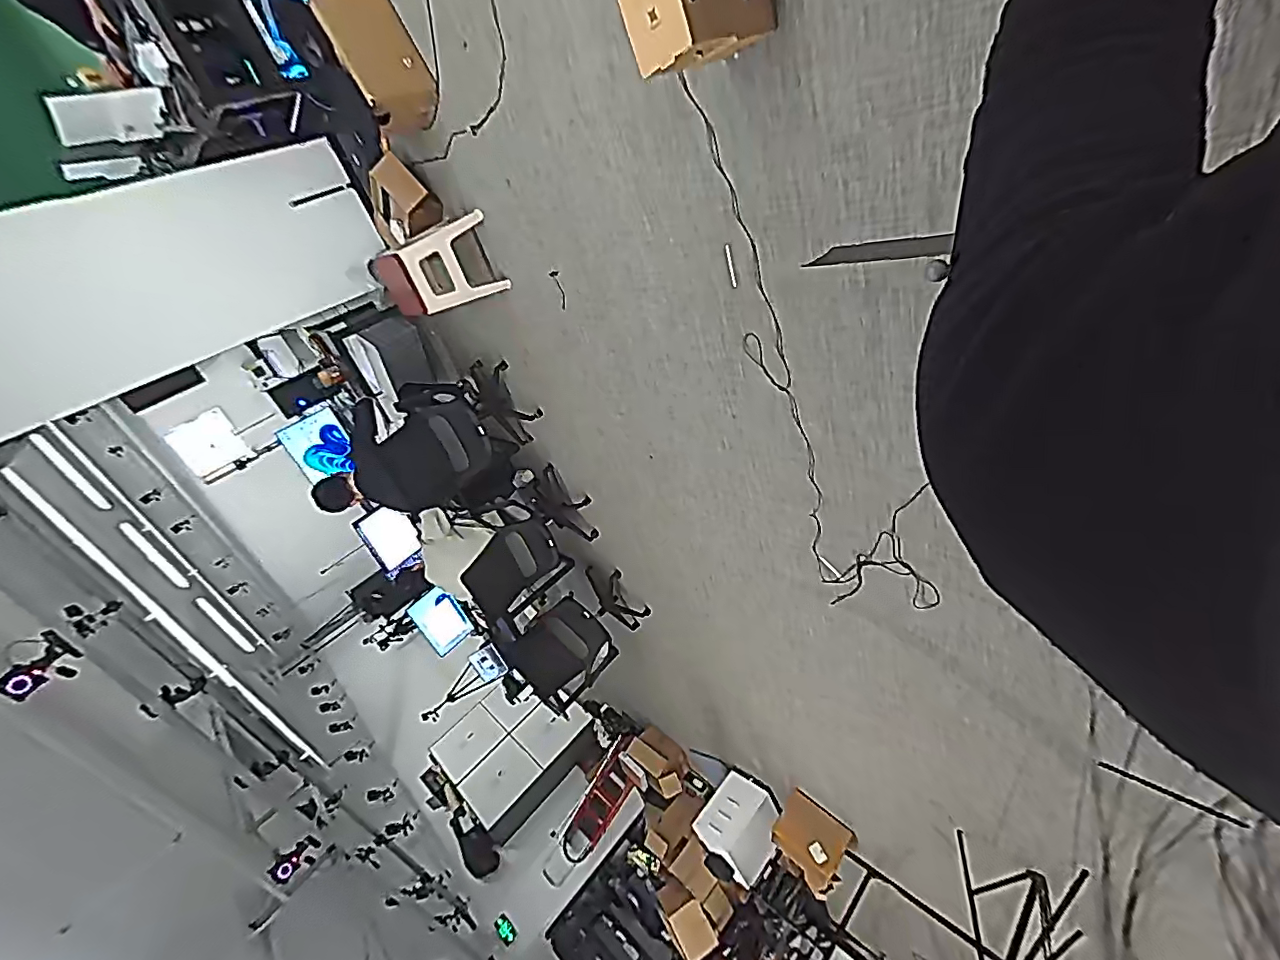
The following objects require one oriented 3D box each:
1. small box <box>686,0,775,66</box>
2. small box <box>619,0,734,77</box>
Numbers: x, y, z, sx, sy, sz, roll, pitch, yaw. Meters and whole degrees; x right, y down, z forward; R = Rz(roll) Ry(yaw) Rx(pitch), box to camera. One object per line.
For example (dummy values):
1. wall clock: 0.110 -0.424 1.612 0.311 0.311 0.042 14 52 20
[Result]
1. small box: 0.197 -1.133 1.289 0.168 0.176 0.179 13 134 48
2. small box: 0.085 -1.048 1.208 0.168 0.176 0.179 9 129 49
